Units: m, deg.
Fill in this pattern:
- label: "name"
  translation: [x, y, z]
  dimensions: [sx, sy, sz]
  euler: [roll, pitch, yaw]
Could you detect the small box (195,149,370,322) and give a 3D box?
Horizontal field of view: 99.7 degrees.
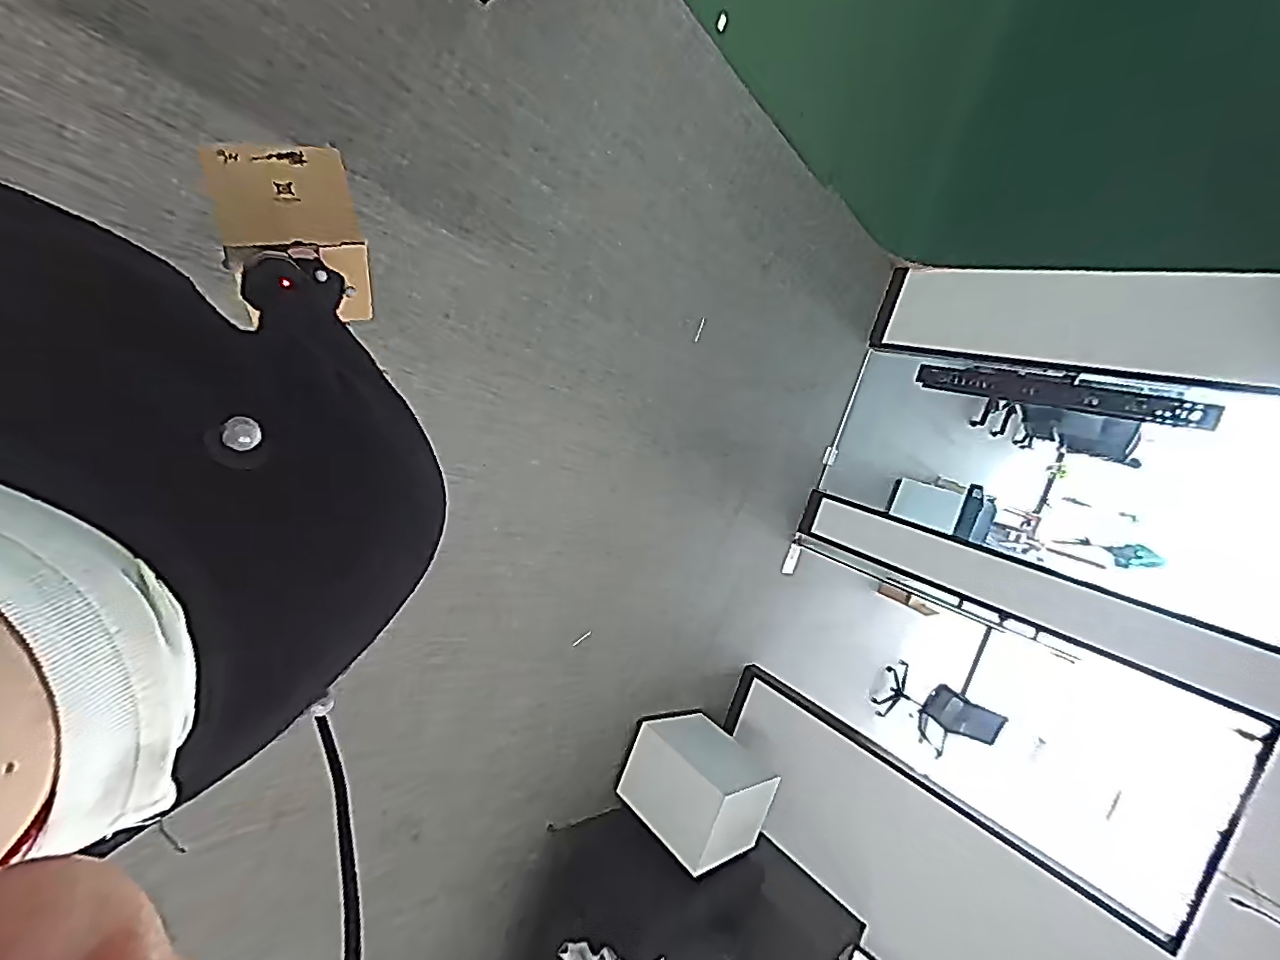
- label: "small box"
  translation: [-0.513, -0.351, 0.799]
  dimensions: [0.168, 0.176, 0.179]
  euler: [-17, 77, -27]
